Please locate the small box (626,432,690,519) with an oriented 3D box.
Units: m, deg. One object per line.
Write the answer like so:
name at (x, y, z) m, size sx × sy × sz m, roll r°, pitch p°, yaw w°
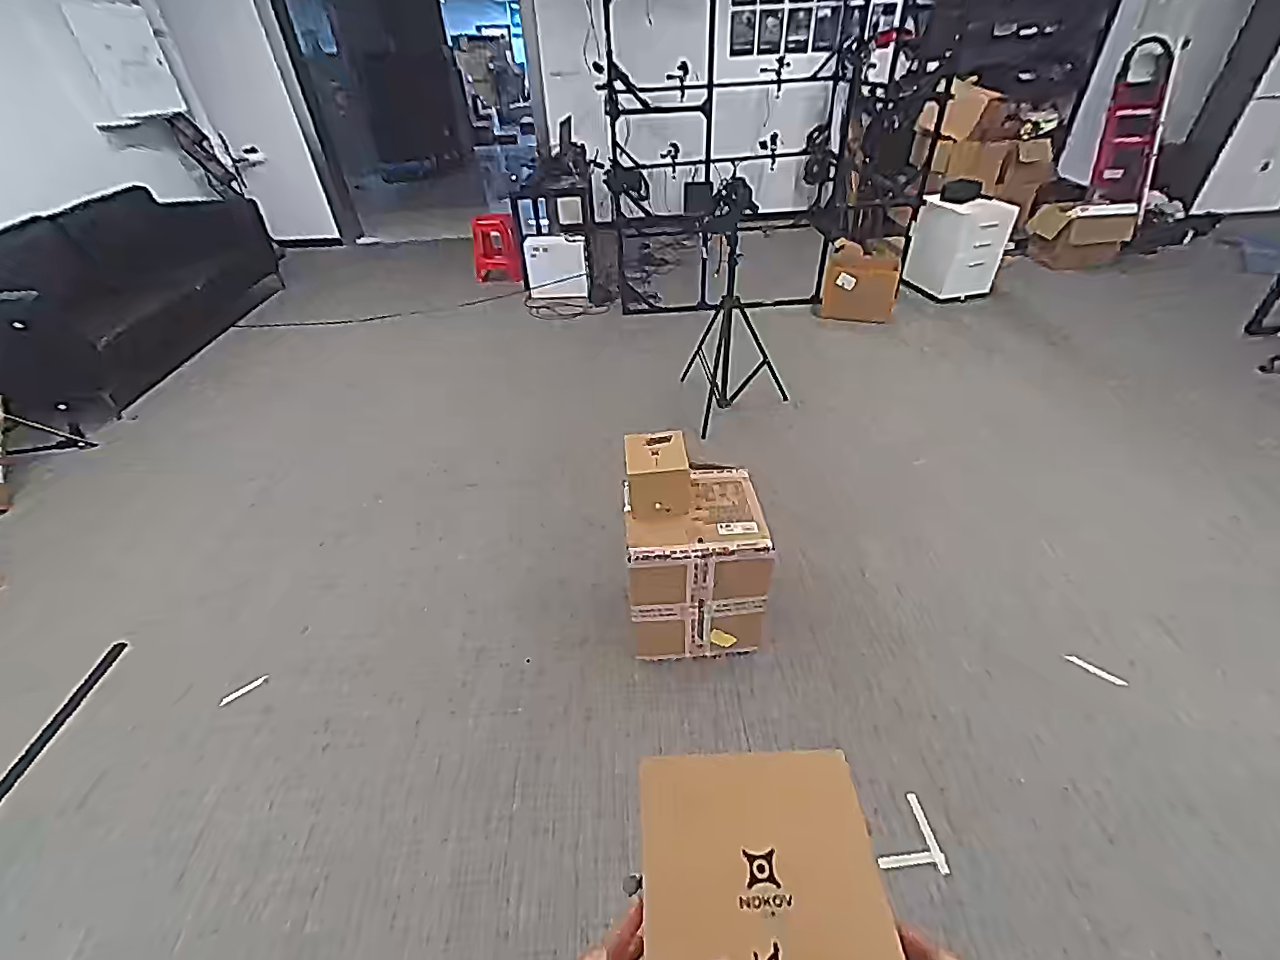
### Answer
small box at (0.049, -0.012, 1.528) m, size 0.168 × 0.176 × 0.179 m, roll -6°, pitch 42°, yaw 0°
